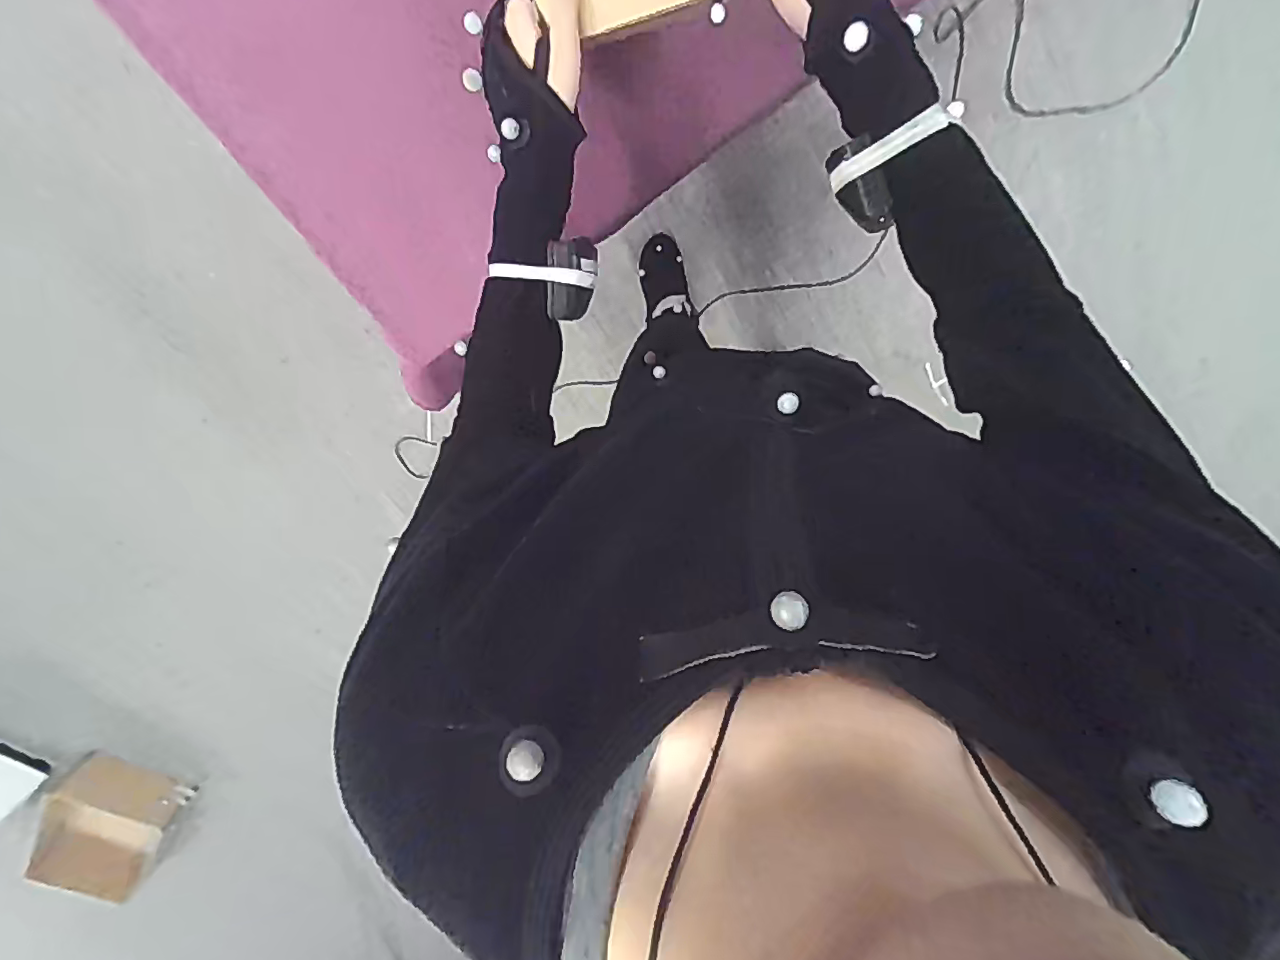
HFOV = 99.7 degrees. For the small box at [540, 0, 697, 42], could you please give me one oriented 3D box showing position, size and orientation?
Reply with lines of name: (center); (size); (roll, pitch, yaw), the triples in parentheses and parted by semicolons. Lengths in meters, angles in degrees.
small box: (-0.011, -0.461, 0.407); (0.179, 0.176, 0.168); (-17, 125, 2)
